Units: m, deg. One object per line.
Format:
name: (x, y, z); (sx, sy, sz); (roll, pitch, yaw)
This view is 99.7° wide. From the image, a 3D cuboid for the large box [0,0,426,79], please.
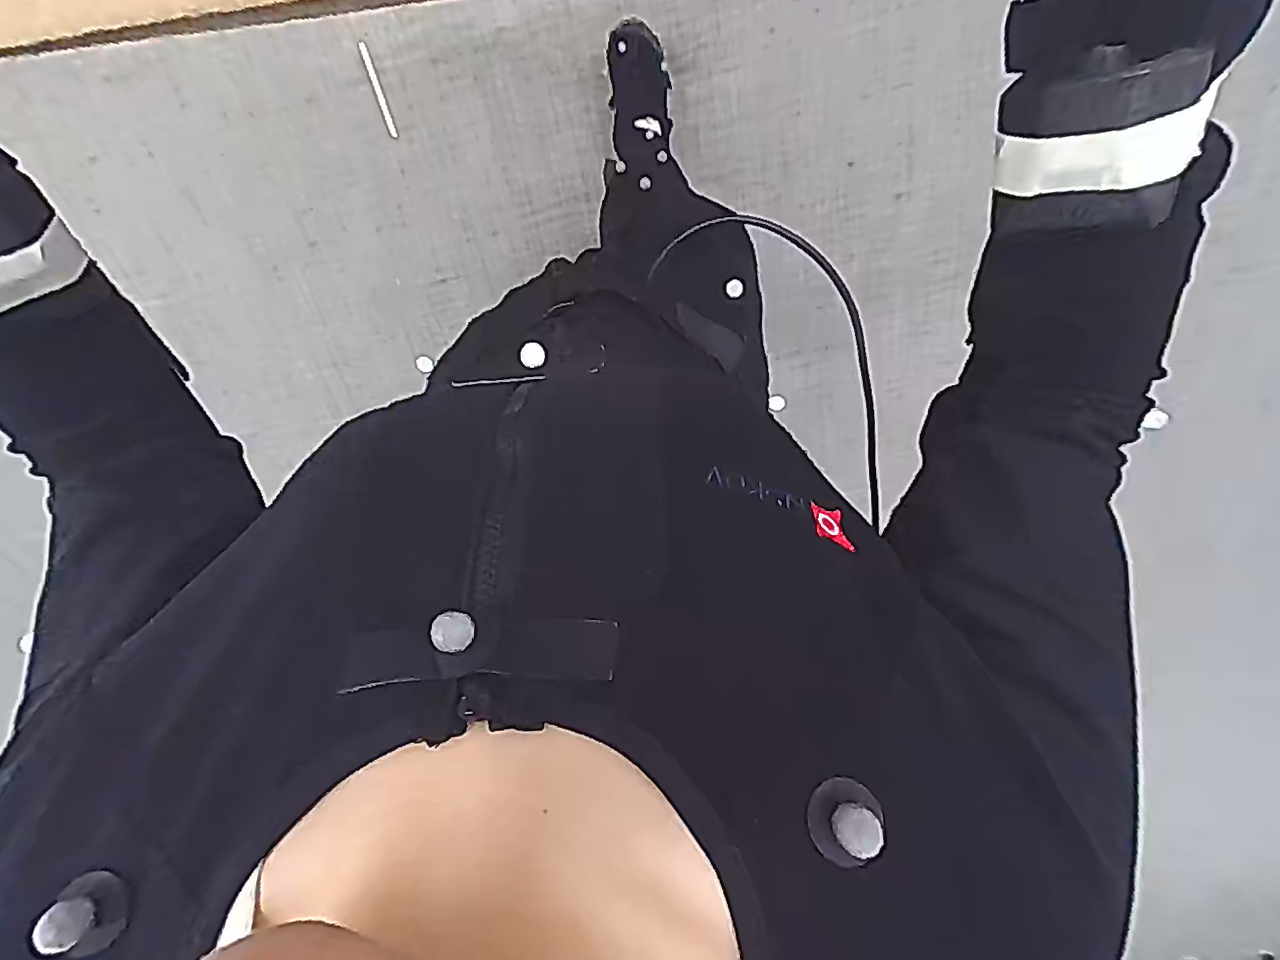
large box: (-0.089, -0.372, 0.178); (0.408, 0.320, 0.320); (-8, 132, 2)
